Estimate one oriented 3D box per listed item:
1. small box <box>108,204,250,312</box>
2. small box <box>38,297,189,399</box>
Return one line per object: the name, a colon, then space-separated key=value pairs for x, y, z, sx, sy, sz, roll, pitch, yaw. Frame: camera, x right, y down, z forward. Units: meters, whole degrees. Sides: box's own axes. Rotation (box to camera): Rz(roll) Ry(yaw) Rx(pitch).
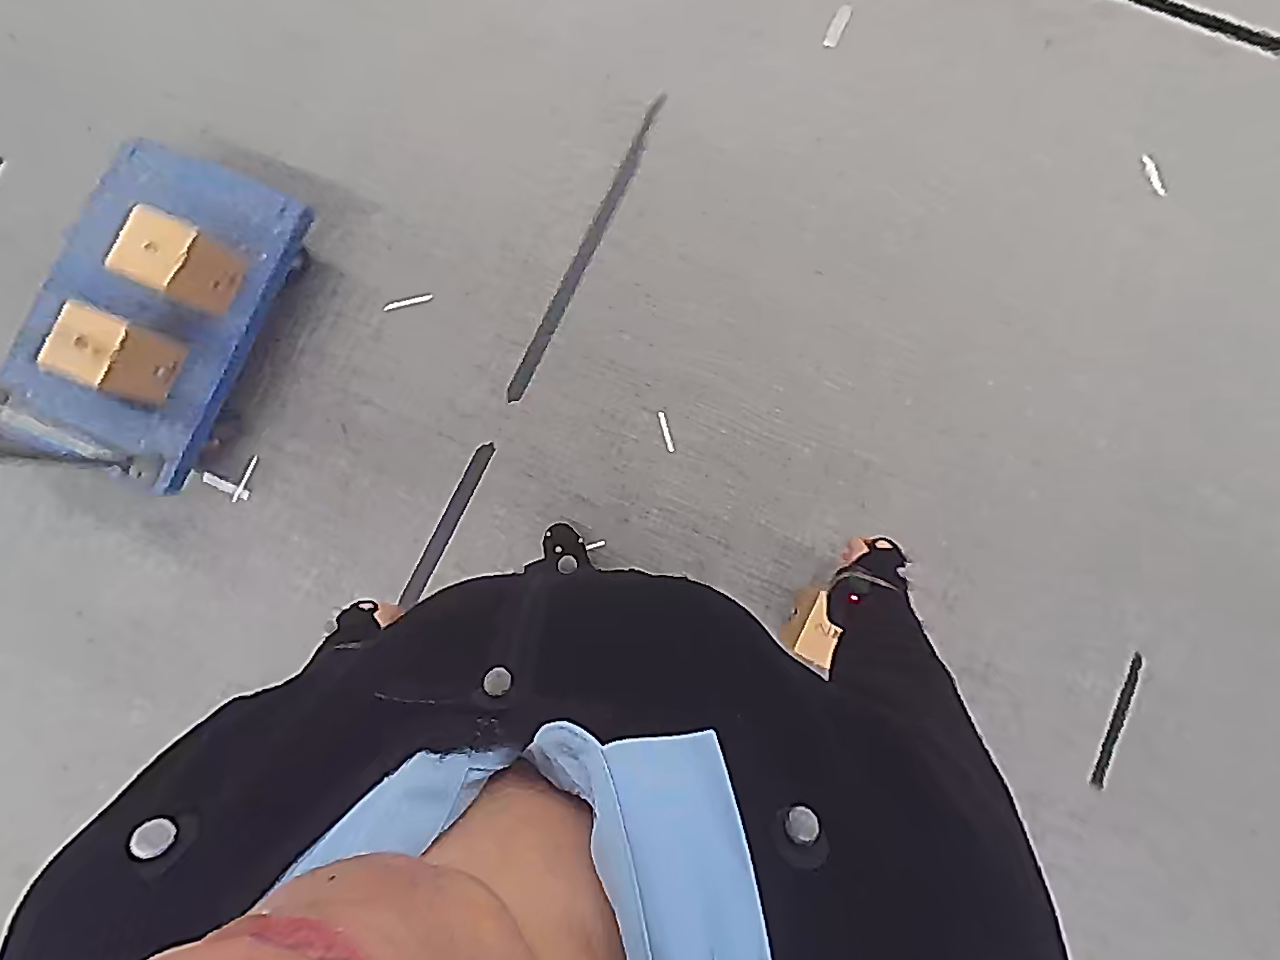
small box: x=-1.149 y=-0.549 z=1.362 sx=0.179 sy=0.176 sz=0.168 roll=23 pitch=85 yaw=4
small box: x=-1.294 y=-0.317 z=1.341 sx=0.179 sy=0.176 sz=0.168 roll=23 pitch=86 yaw=4
